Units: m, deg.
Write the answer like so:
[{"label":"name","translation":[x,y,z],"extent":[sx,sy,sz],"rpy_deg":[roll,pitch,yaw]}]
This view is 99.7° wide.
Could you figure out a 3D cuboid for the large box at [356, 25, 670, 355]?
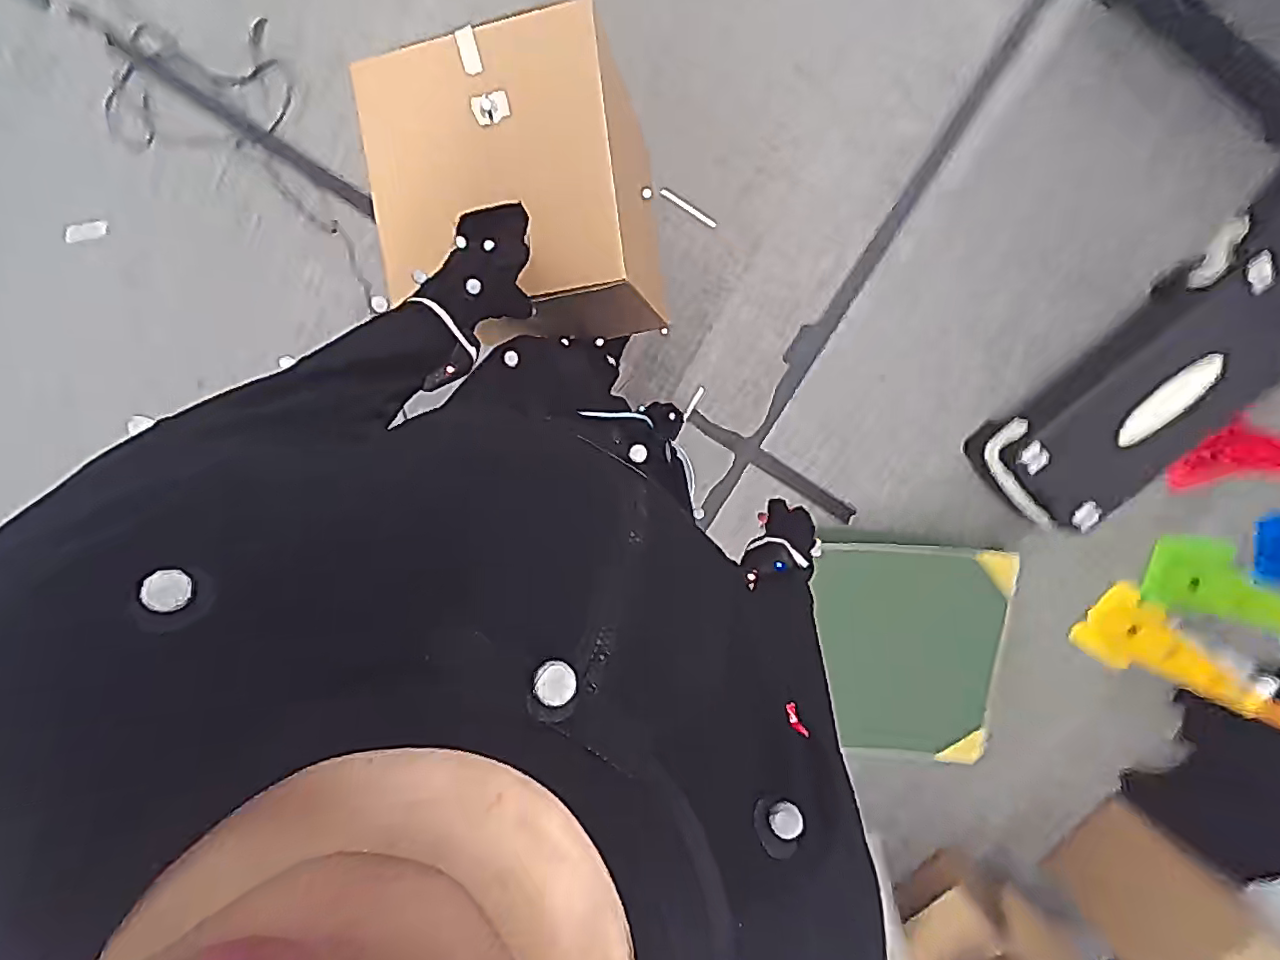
[{"label":"large box","translation":[-0.153,-0.389,0.852],"extent":[0.320,0.408,0.320],"rpy_deg":[-7,98,12]}]
